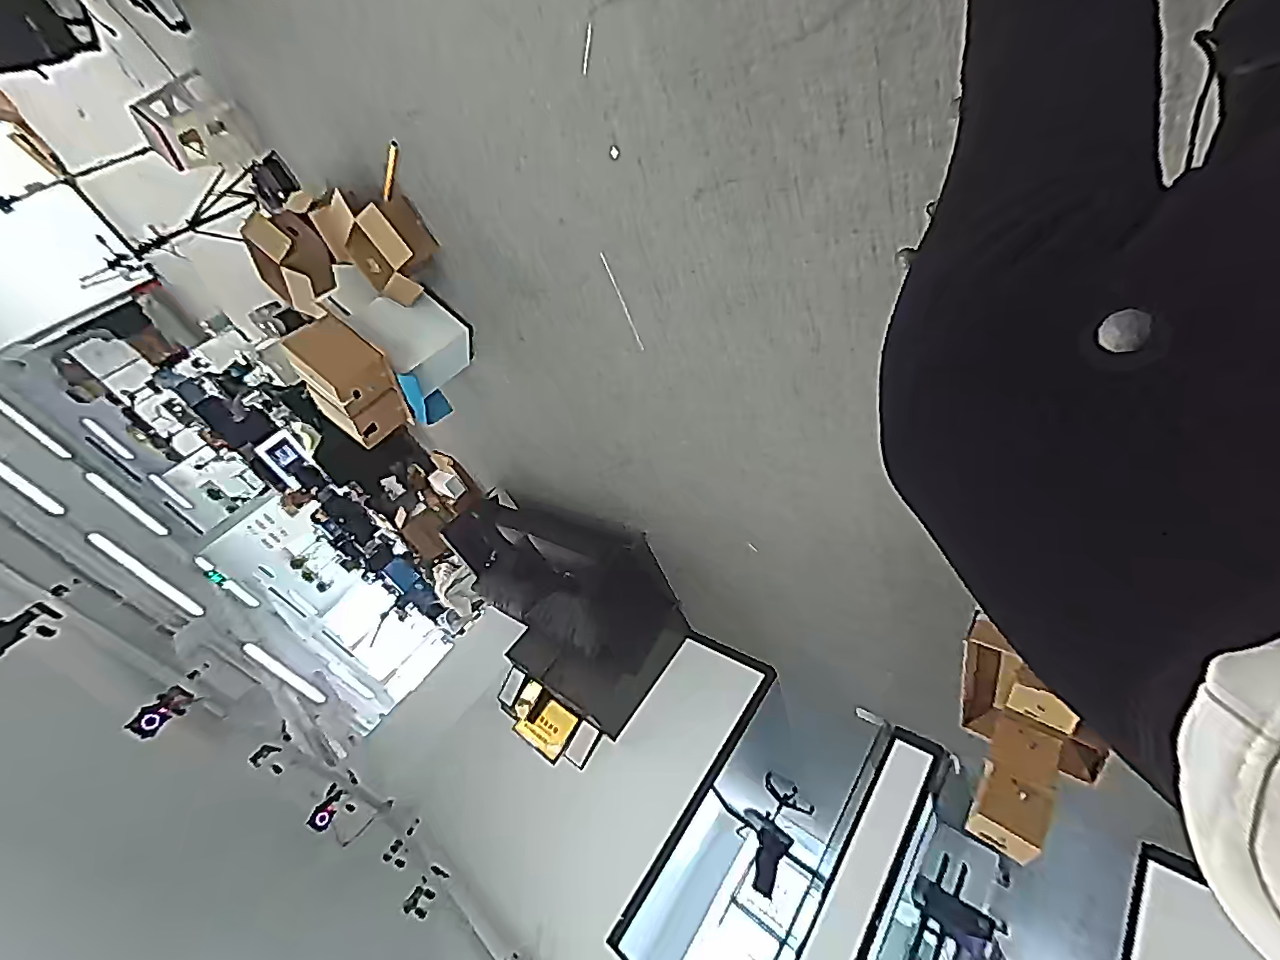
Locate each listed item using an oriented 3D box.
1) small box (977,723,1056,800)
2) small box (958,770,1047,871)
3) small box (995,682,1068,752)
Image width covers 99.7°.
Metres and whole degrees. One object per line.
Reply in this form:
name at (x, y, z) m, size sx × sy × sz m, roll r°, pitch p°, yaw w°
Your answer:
small box at (1.175, 0.903, 1.689) m, size 0.168 × 0.176 × 0.179 m, roll 16°, pitch 140°, yaw 42°
small box at (1.079, 1.010, 1.609) m, size 0.168 × 0.176 × 0.179 m, roll 23°, pitch 144°, yaw 34°
small box at (1.275, 0.803, 1.768) m, size 0.168 × 0.176 × 0.179 m, roll 15°, pitch 140°, yaw 41°
